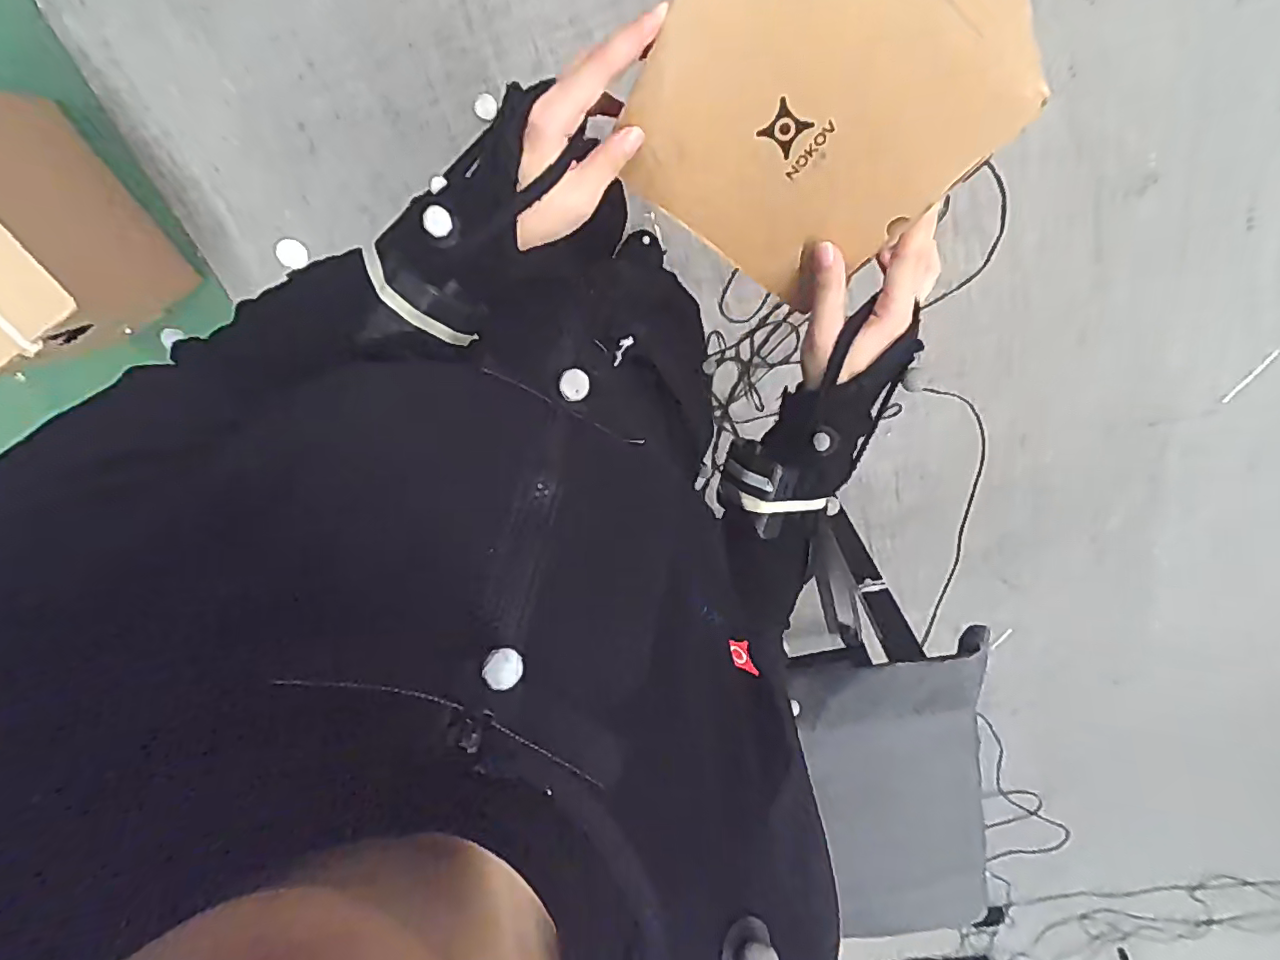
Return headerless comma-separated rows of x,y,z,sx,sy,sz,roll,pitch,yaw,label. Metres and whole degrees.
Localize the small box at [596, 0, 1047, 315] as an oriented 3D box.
0.104,-0.249,0.337,0.179,0.176,0.168,31,145,-15,small box
